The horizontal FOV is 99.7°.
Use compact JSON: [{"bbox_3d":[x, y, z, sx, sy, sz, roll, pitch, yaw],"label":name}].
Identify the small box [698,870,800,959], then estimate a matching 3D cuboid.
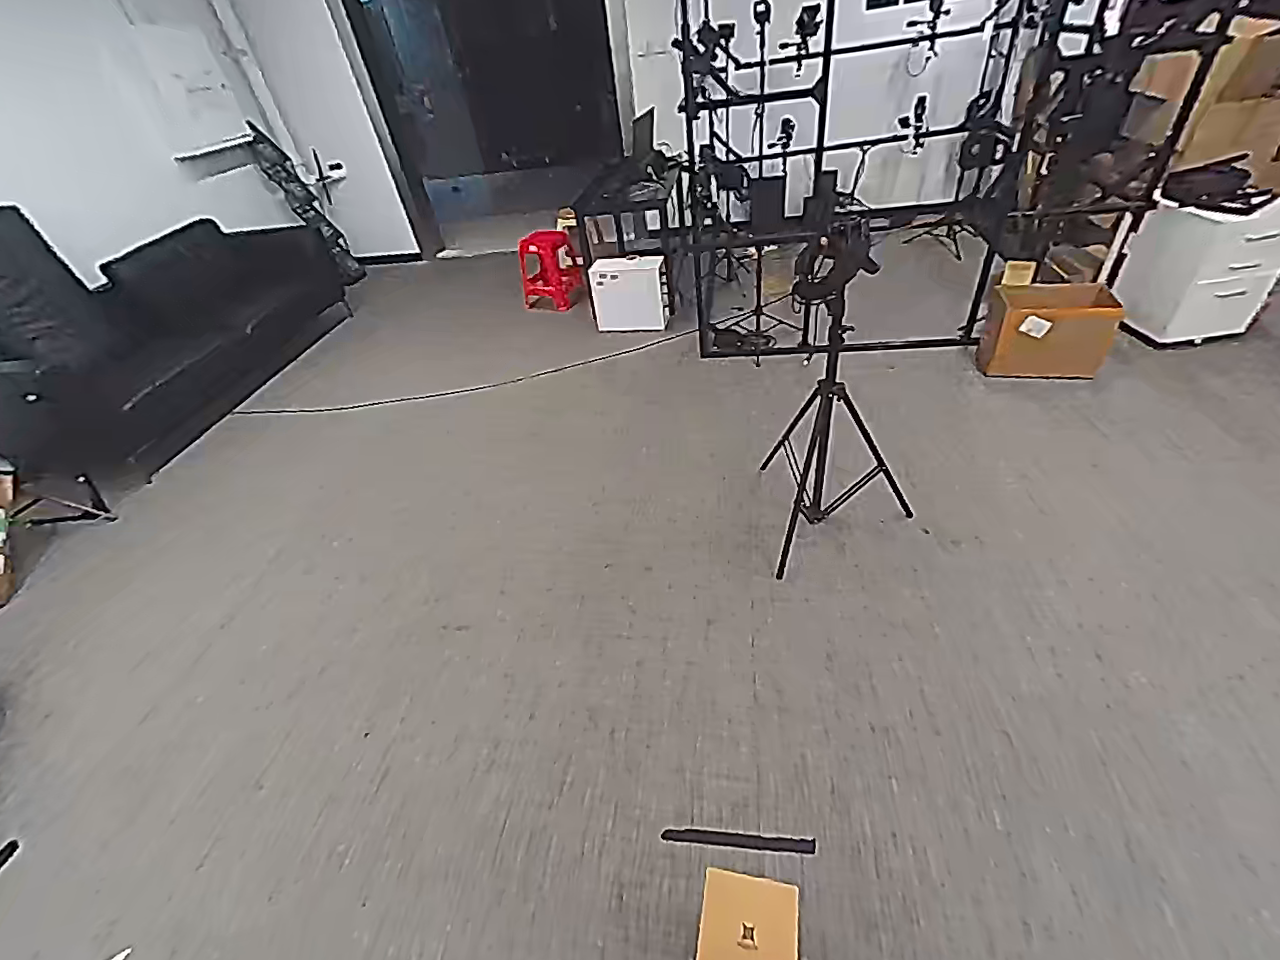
[{"bbox_3d":[0.193,0.834,0.958,0.168,0.176,0.179,2,41,14],"label":"small box"}]
